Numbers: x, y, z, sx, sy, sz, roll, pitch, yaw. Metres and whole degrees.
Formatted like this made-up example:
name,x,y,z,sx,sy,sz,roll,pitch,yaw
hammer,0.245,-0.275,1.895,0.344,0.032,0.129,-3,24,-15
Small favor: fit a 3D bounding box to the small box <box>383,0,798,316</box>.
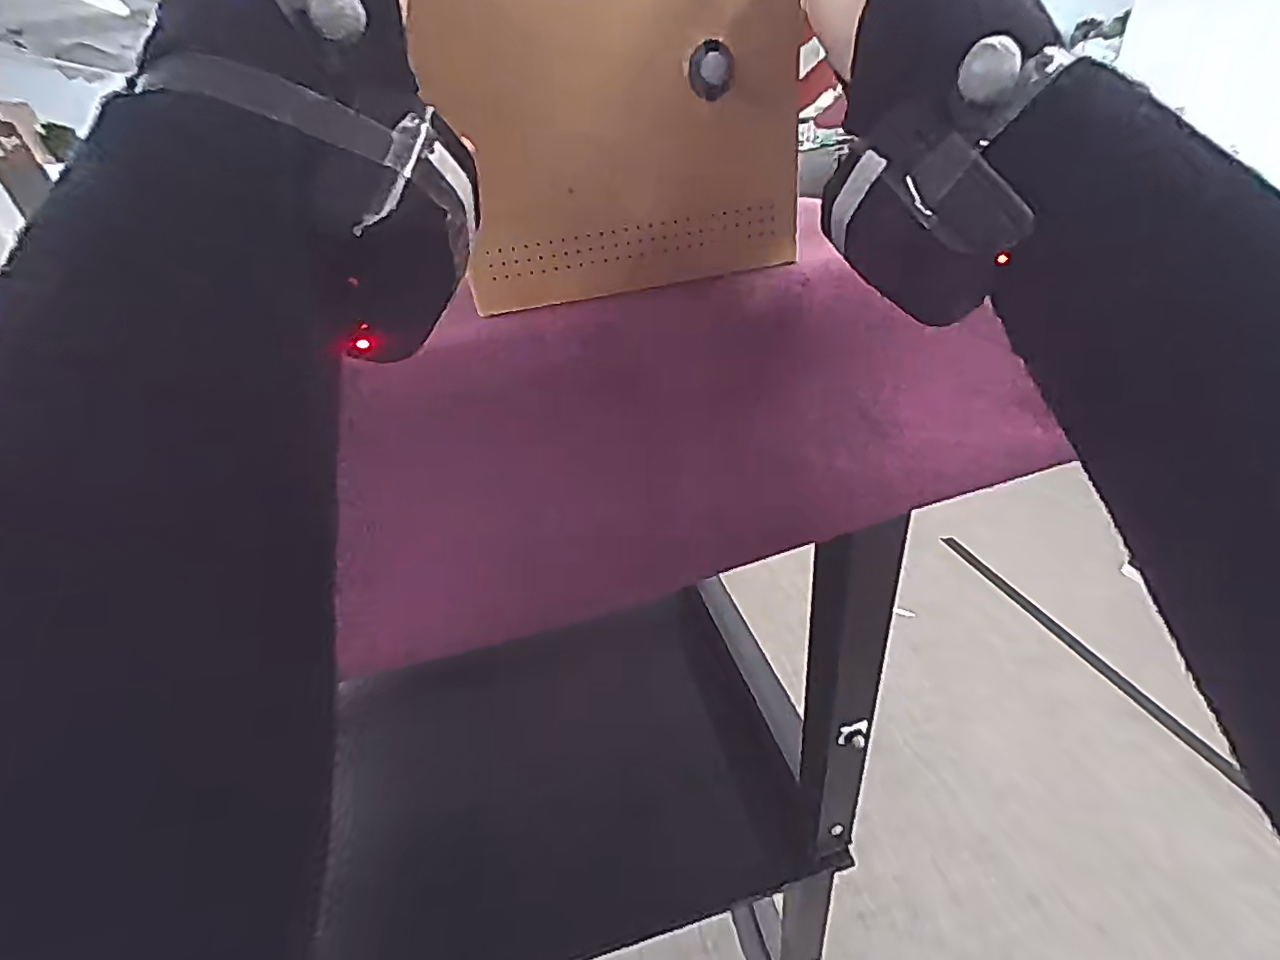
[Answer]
name,x,y,z,sx,sy,sz,roll,pitch,yaw
small box,-0.021,-0.207,0.306,0.179,0.176,0.168,-11,32,-3
